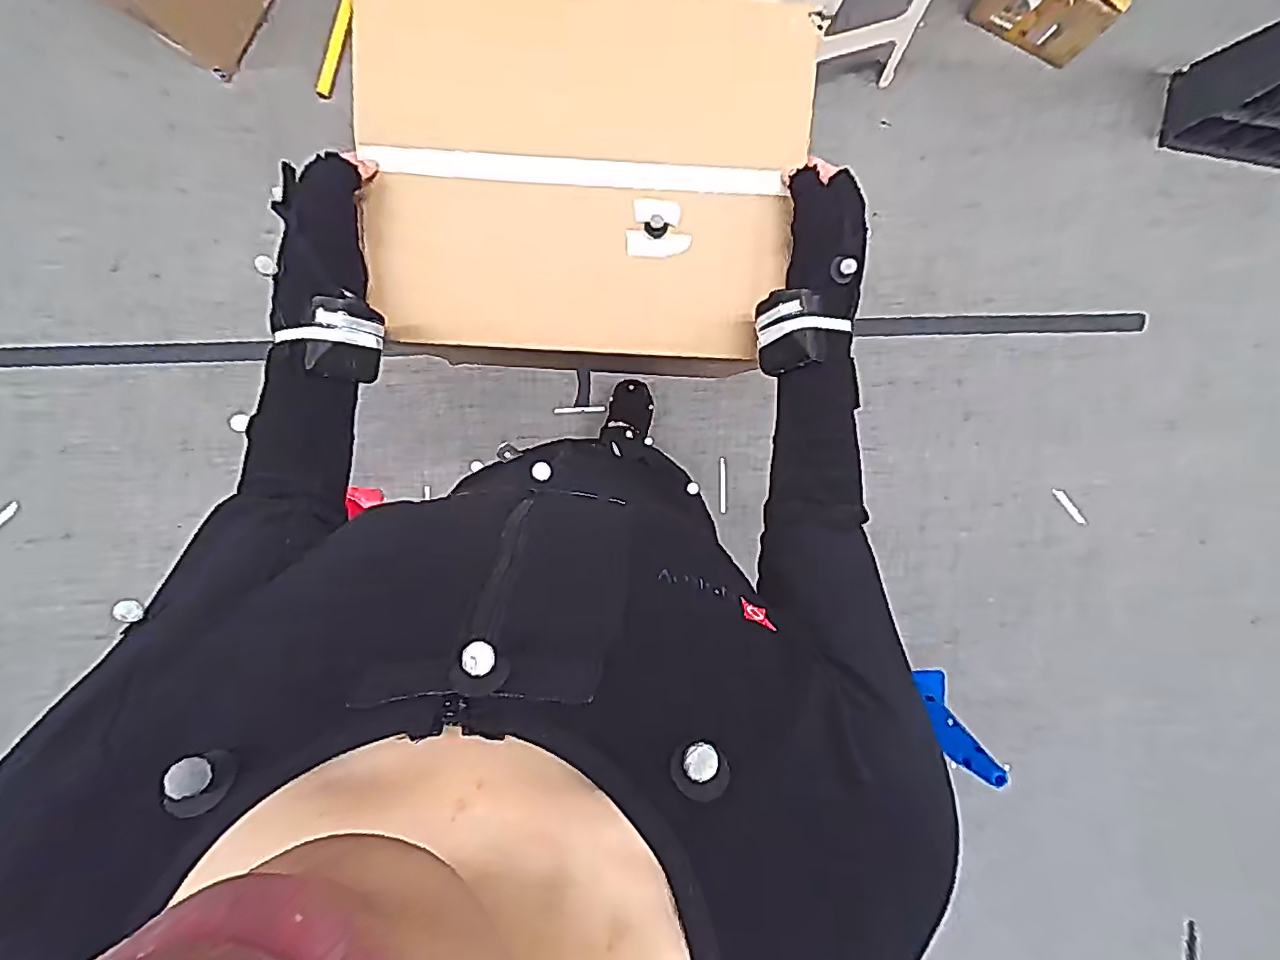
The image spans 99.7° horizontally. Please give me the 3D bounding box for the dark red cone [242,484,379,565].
[{"bbox_3d":[-0.770,0.125,1.240,0.201,0.394,0.202,4,93,-4],"label":"dark red cone"}]

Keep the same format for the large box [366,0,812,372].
[{"bbox_3d":[-0.055,-0.301,0.643,0.408,0.320,0.320,2,98,-3],"label":"large box"}]

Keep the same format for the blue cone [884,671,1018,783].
[{"bbox_3d":[0.807,0.653,1.393,0.192,0.380,0.193,1,93,-4],"label":"blue cone"}]
